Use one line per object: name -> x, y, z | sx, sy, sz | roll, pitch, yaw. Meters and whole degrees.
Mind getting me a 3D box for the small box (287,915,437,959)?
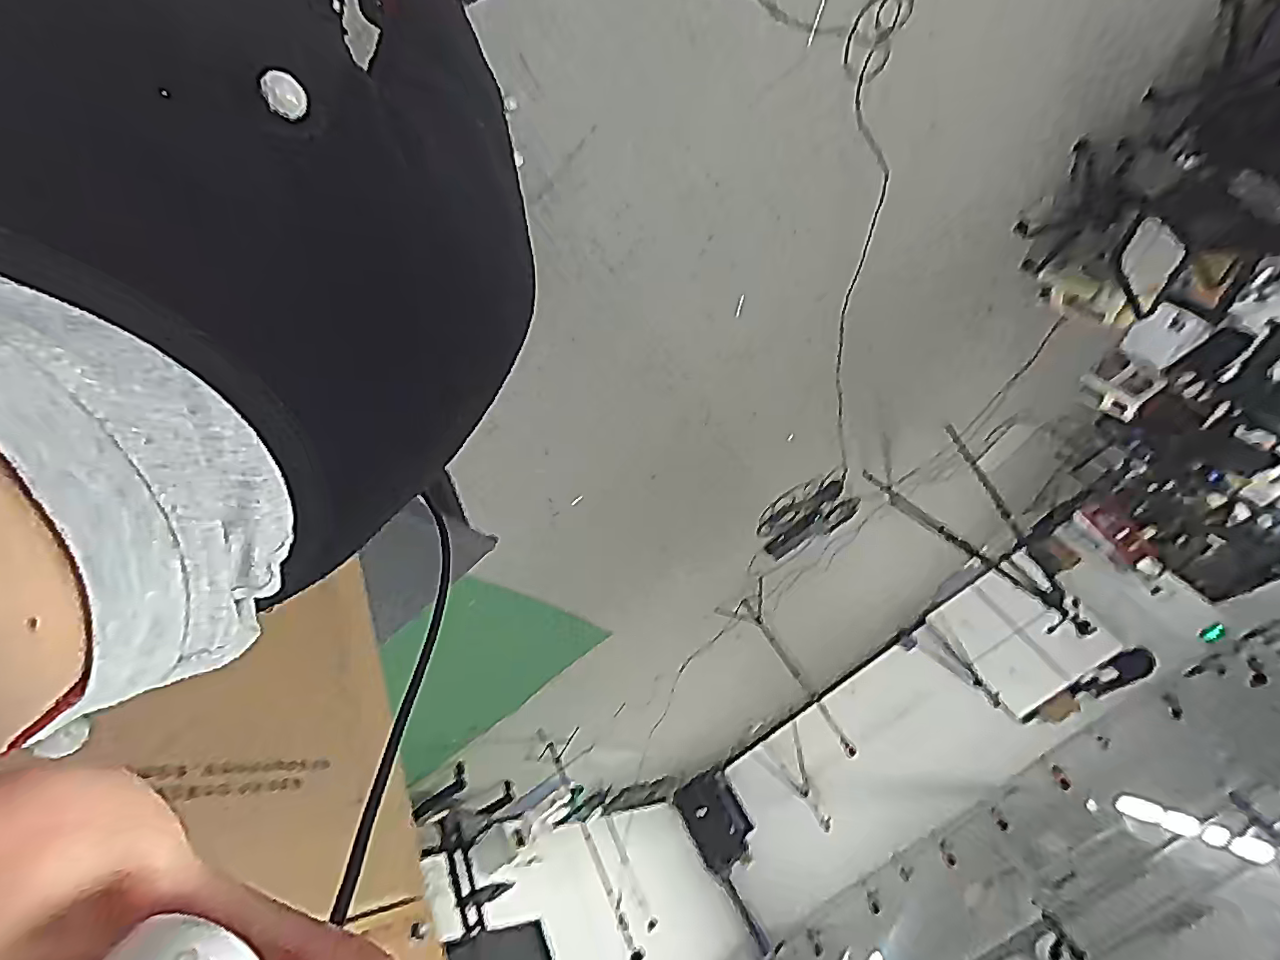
small box -> -0.312, 0.578, 0.543 | 0.179, 0.176, 0.168 | -38, 145, 6
